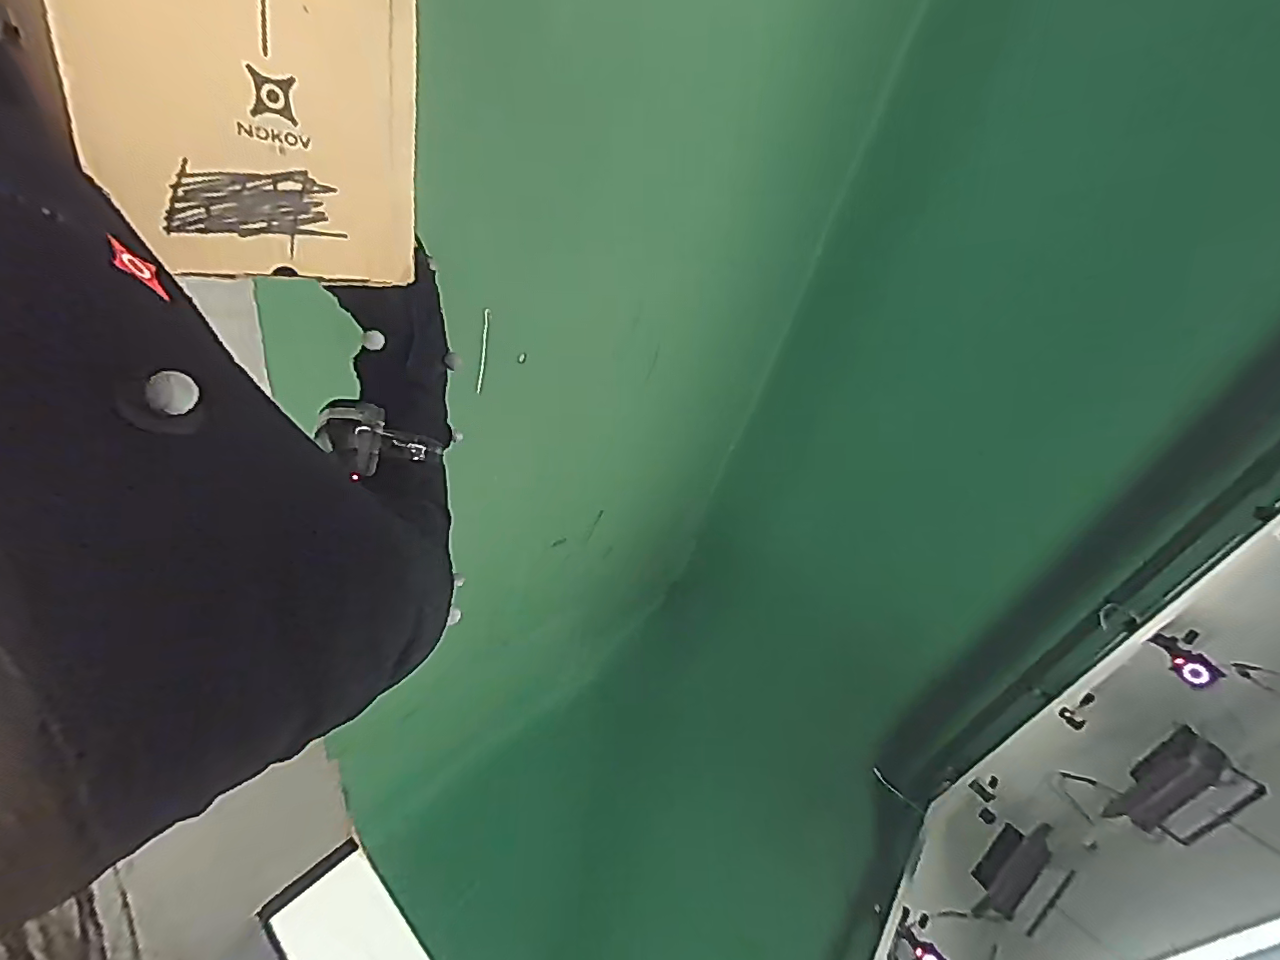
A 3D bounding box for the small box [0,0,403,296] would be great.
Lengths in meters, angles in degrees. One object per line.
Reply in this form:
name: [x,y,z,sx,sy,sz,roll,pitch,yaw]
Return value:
small box: [-0.271,-0.227,0.338,0.168,0.176,0.179,-20,131,-49]
